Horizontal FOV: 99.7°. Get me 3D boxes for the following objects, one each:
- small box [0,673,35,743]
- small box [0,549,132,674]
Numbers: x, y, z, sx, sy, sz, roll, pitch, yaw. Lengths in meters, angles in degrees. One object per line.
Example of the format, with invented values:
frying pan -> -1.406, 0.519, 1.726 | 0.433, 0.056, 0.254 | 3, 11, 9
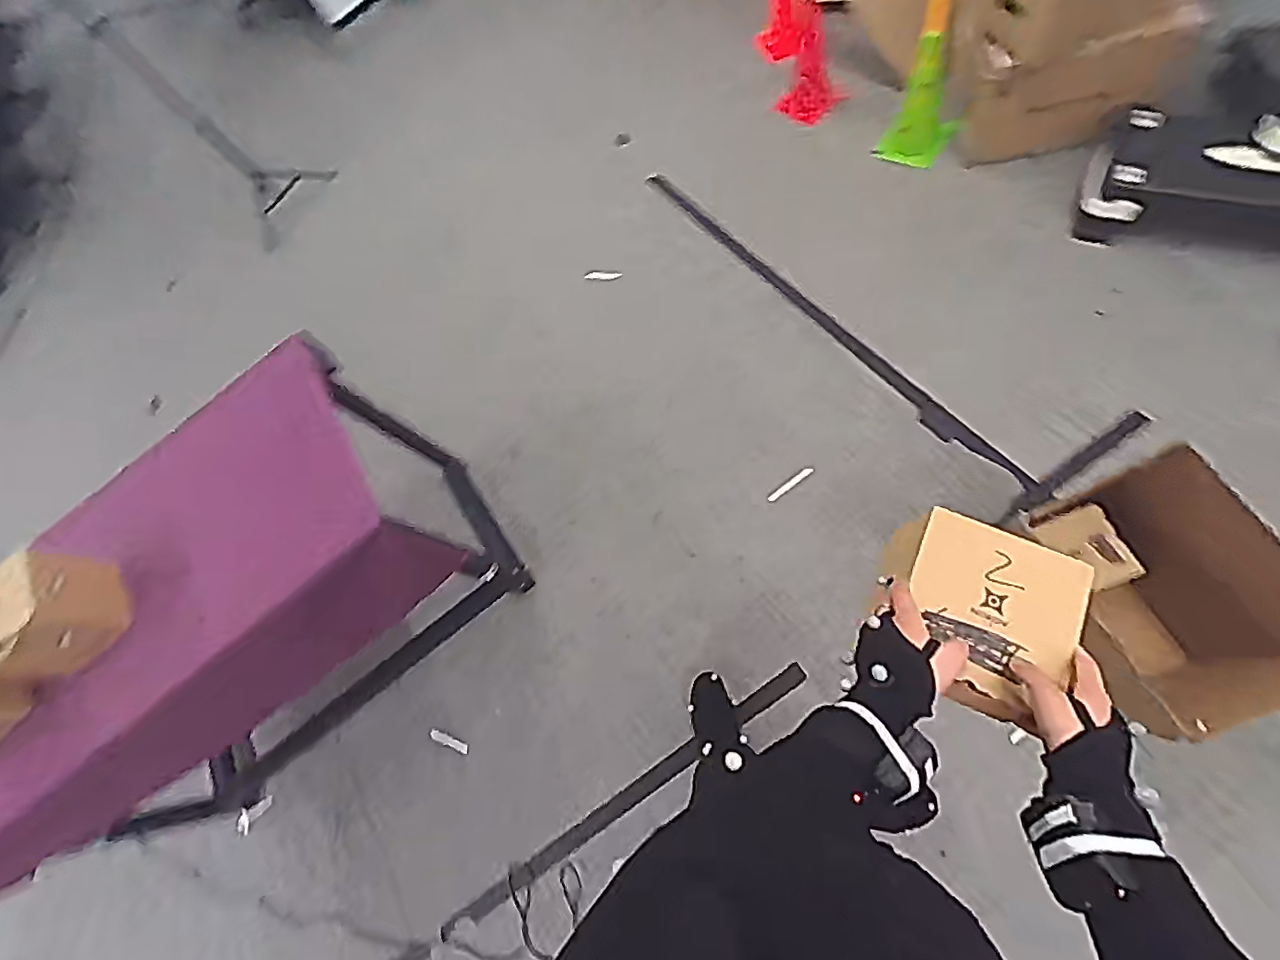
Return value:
small box -> -1.372, 0.444, 1.070 | 0.168, 0.176, 0.179 | -47, 65, -3
small box -> -1.169, 0.267, 1.077 | 0.168, 0.176, 0.179 | -40, 64, -1
